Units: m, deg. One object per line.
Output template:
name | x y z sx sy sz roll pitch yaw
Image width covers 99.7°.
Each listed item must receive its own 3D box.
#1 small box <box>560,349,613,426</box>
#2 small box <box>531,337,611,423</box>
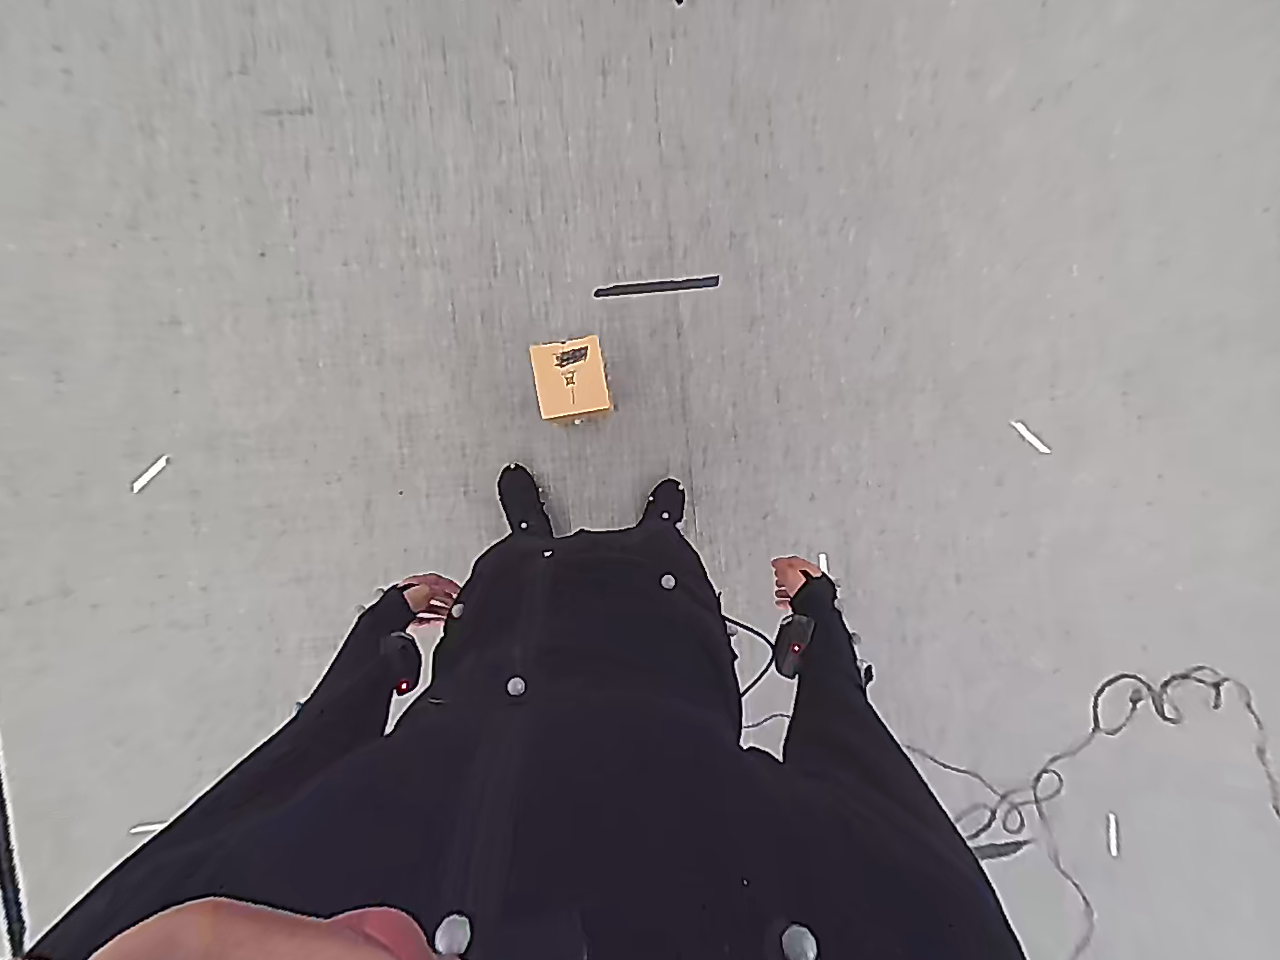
small box | -0.172 -0.256 1.515 0.168 0.176 0.179 -11 93 -3
small box | -0.168 -0.244 1.351 0.168 0.176 0.179 -10 93 -2
